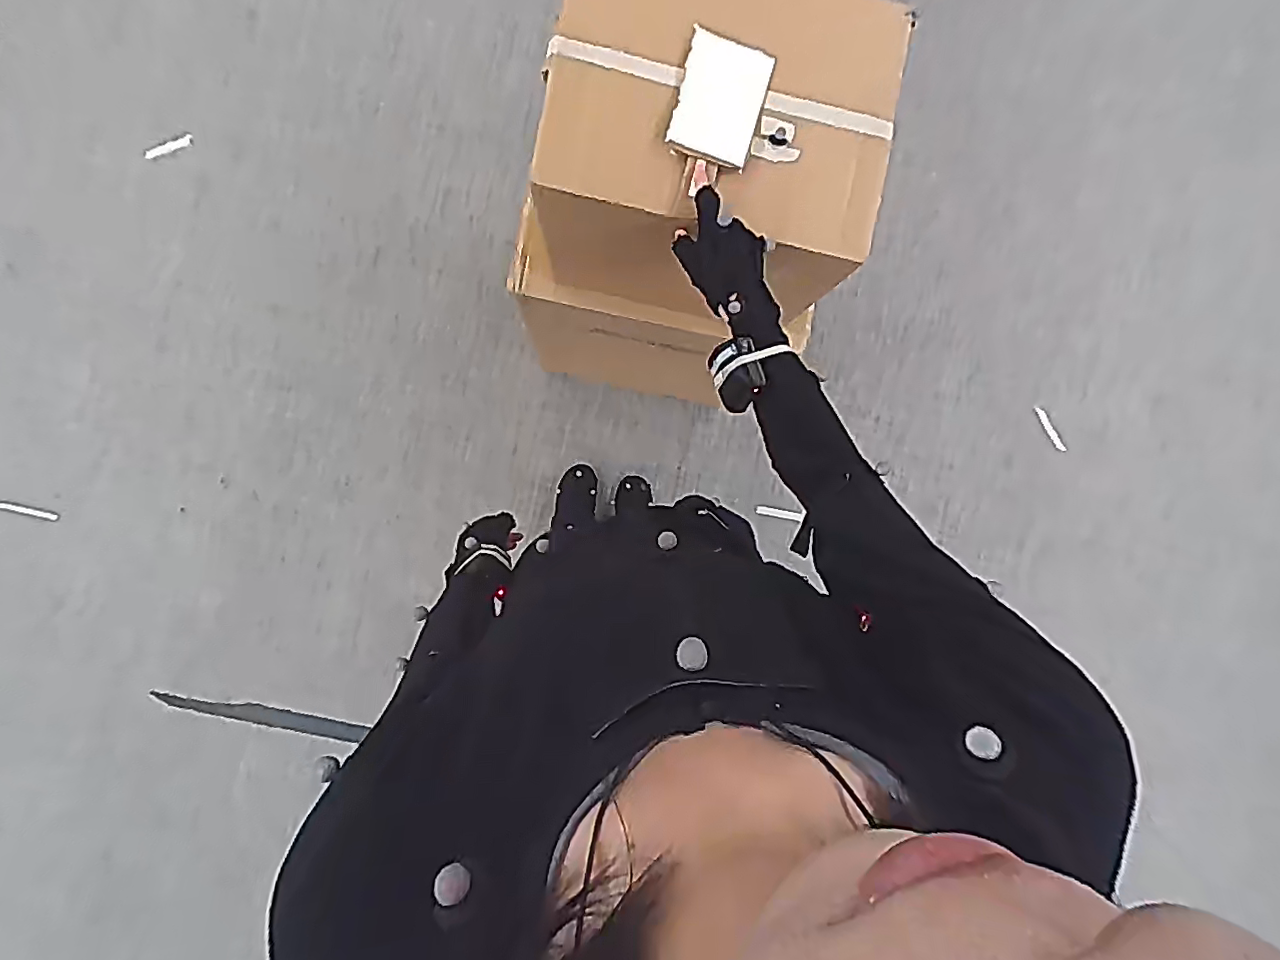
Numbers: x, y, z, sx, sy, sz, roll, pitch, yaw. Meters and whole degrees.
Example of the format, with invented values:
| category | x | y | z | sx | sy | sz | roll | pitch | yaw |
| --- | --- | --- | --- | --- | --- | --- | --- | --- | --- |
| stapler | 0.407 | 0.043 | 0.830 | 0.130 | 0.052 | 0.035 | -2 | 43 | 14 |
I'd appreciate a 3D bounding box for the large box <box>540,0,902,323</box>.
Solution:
| category | x | y | z | sx | sy | sz | roll | pitch | yaw |
| --- | --- | --- | --- | --- | --- | --- | --- | --- | --- |
| large box | 0.087 | -0.456 | 0.789 | 0.408 | 0.320 | 0.320 | 11 | 90 | -6 |
